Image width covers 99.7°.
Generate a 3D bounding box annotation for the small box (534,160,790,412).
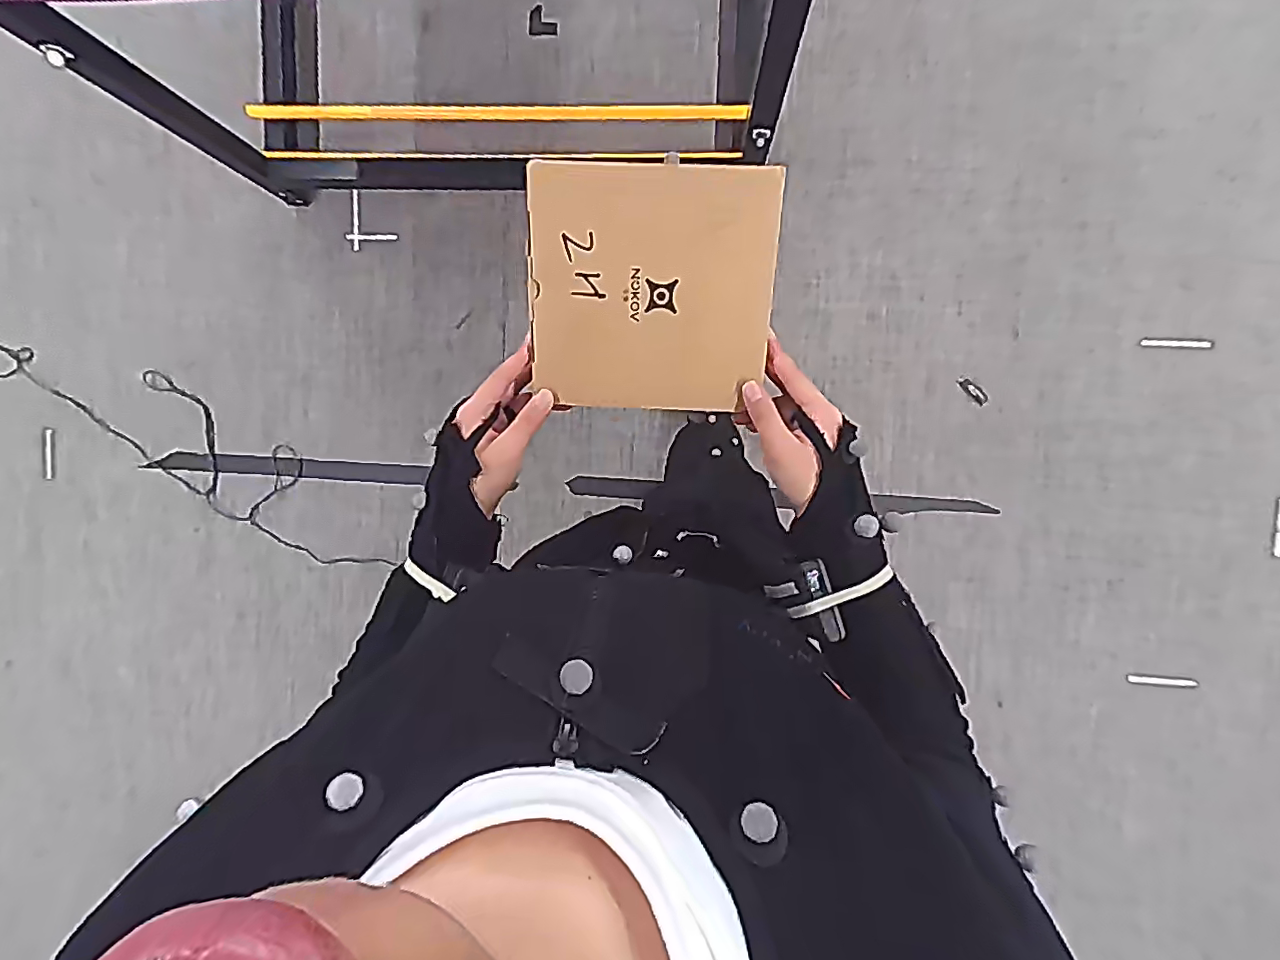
[{"bbox_3d":[0.014,-0.159,0.463,0.179,0.176,0.168,3,108,2],"label":"small box"}]
